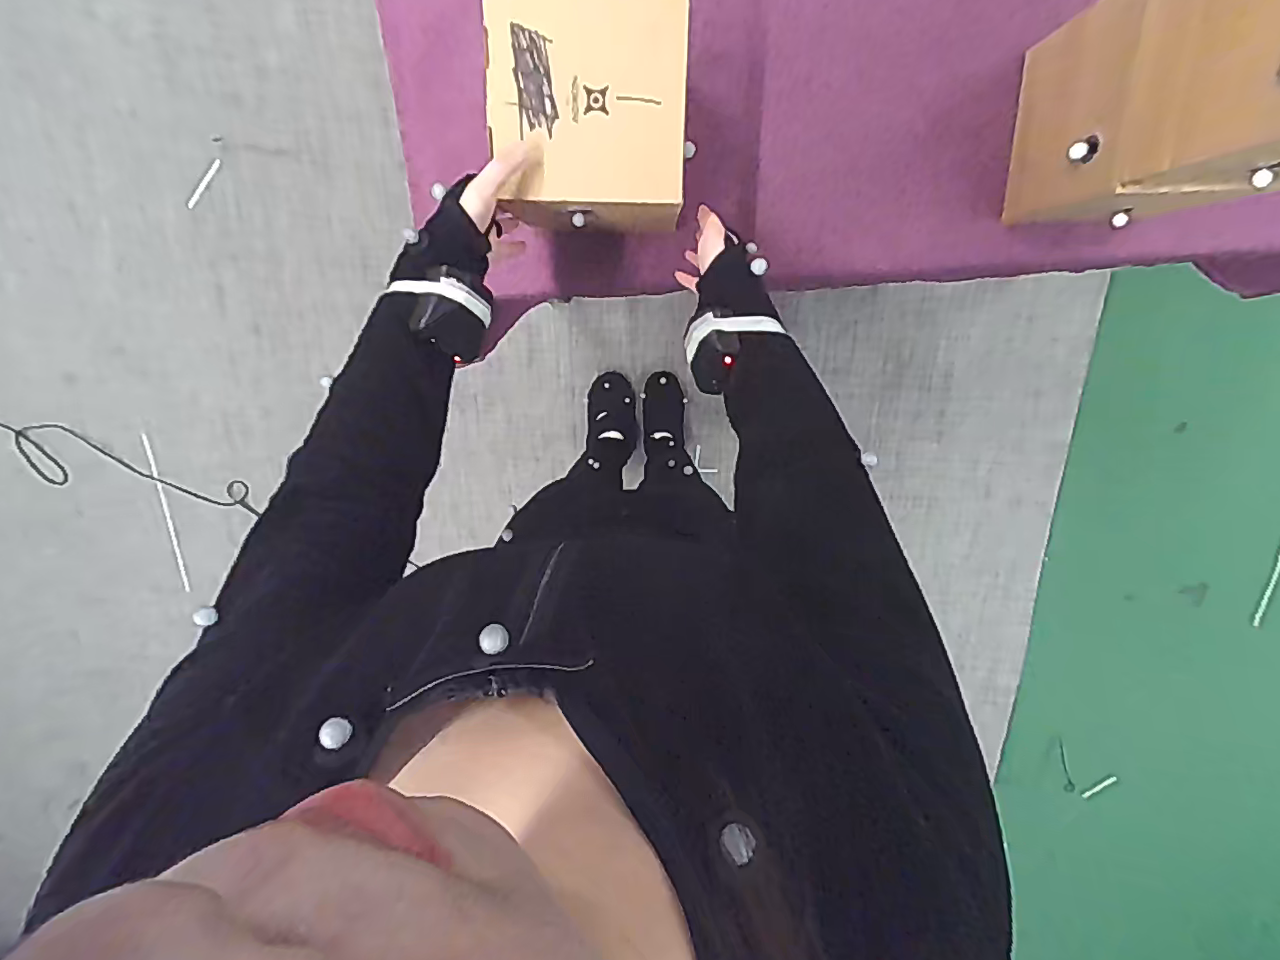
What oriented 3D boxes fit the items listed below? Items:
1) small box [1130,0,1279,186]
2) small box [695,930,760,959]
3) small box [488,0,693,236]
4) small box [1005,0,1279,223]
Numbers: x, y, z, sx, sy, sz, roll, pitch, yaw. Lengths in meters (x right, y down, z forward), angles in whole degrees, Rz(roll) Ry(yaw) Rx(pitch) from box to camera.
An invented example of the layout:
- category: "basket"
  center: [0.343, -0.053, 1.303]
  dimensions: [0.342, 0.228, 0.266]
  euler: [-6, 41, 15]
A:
- category: "small box"
  center: [0.507, -0.323, 0.380]
  dimensions: [0.168, 0.176, 0.179]
  euler: [-1, 108, 1]
- category: "small box"
  center: [0.243, 1.393, 1.498]
  dimensions: [0.179, 0.176, 0.168]
  euler: [1, 108, 1]
- category: "small box"
  center: [-0.044, -0.351, 0.551]
  dimensions: [0.179, 0.176, 0.168]
  euler: [1, 106, -1]
- category: "small box"
  center: [0.504, -0.362, 0.539]
  dimensions: [0.168, 0.176, 0.179]
  euler: [-1, 106, 1]
